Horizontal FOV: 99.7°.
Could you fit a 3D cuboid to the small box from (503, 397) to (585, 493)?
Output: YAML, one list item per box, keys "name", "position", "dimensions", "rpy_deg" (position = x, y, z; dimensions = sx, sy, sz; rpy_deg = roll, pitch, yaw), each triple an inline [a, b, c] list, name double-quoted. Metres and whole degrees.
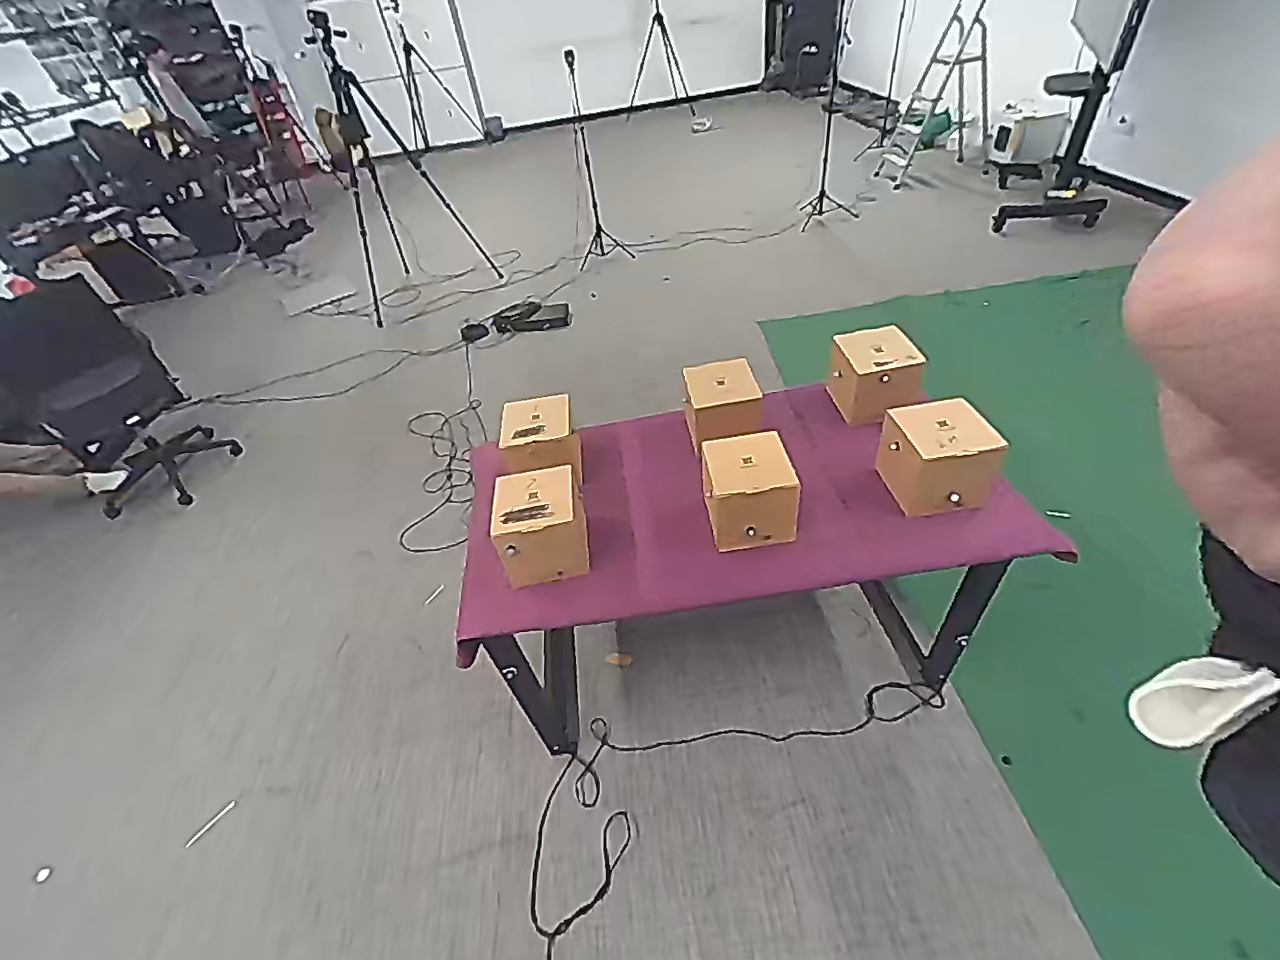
- name: "small box"
  position: [-0.234, -0.082, 1.359]
  dimensions: [0.168, 0.176, 0.179]
  rpy_deg: [-8, 44, 1]

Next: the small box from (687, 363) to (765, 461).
- name: "small box"
  position: [0.214, -0.172, 1.378]
  dimensions: [0.168, 0.176, 0.179]
  rpy_deg: [-9, 45, 2]

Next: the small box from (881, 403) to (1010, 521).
- name: "small box"
  position: [0.634, -0.038, 1.152]
  dimensions: [0.168, 0.176, 0.179]
  rpy_deg: [-9, 41, 3]

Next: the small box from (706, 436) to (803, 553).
- name: "small box"
  position: [0.236, 0.031, 1.157]
  dimensions: [0.168, 0.176, 0.179]
  rpy_deg: [-8, 42, 1]

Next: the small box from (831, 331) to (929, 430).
- name: "small box"
  position: [0.604, -0.254, 1.388]
  dimensions: [0.168, 0.176, 0.179]
  rpy_deg: [-11, 44, 2]
